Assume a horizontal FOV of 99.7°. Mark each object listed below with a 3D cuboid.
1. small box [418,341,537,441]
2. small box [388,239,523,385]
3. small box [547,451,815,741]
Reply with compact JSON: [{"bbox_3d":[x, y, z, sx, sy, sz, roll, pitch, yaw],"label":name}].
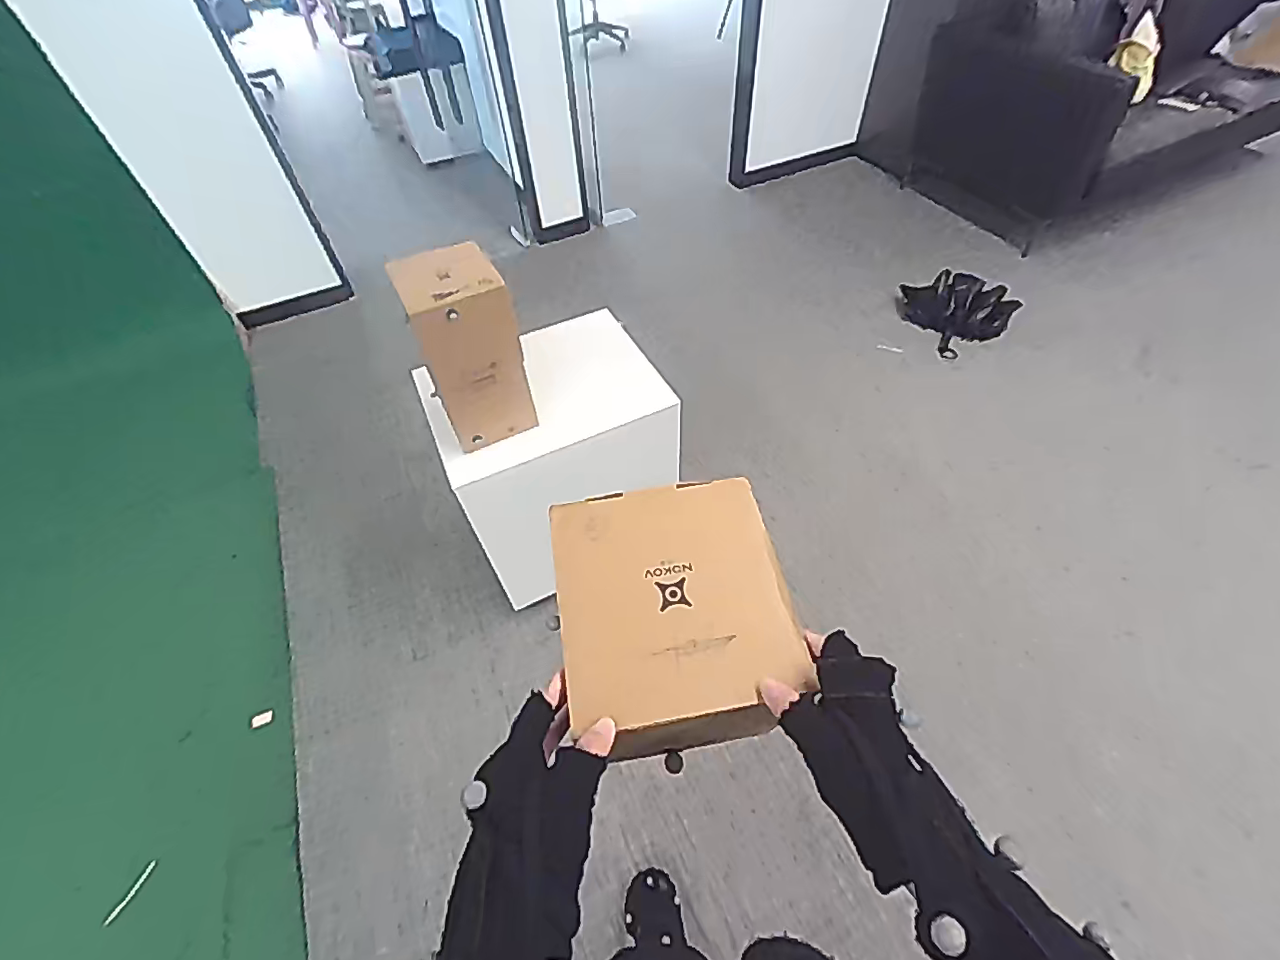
[{"bbox_3d":[-0.327,-0.201,1.109,0.168,0.176,0.179,-25,54,-16],"label":"small box"},{"bbox_3d":[-0.330,-0.303,0.982,0.168,0.176,0.179,-25,54,-16],"label":"small box"},{"bbox_3d":[0.019,0.102,0.454,0.168,0.176,0.179,-9,59,-6],"label":"small box"}]
